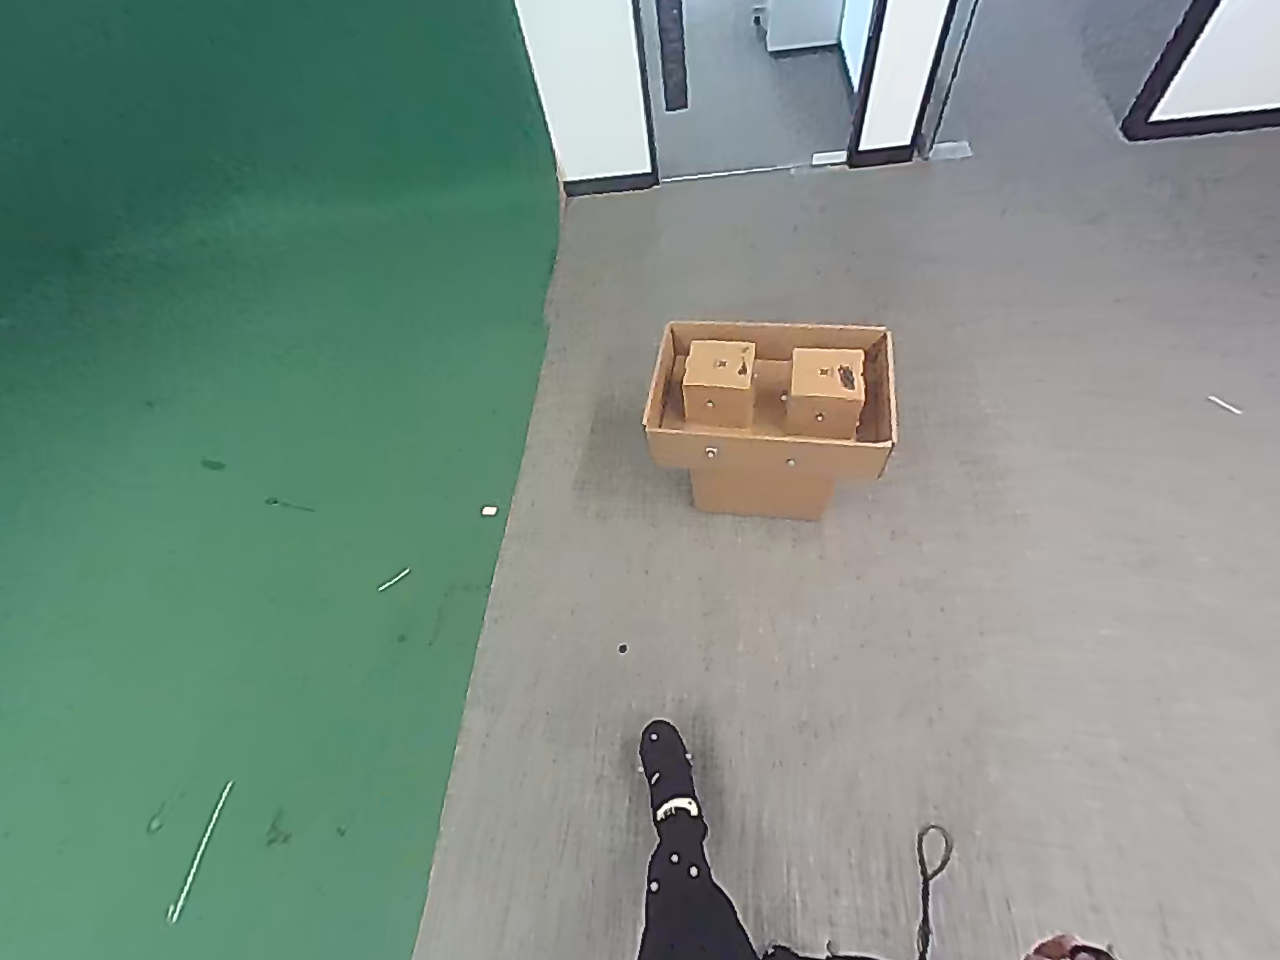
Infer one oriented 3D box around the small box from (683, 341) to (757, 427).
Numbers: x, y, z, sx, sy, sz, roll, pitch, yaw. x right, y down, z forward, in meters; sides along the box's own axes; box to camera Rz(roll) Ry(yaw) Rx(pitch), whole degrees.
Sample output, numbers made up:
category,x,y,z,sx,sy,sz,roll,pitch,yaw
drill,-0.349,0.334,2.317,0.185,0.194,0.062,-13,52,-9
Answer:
category,x,y,z,sx,sy,sz,roll,pitch,yaw
small box,0.223,-0.260,1.485,0.179,0.176,0.168,6,59,14
